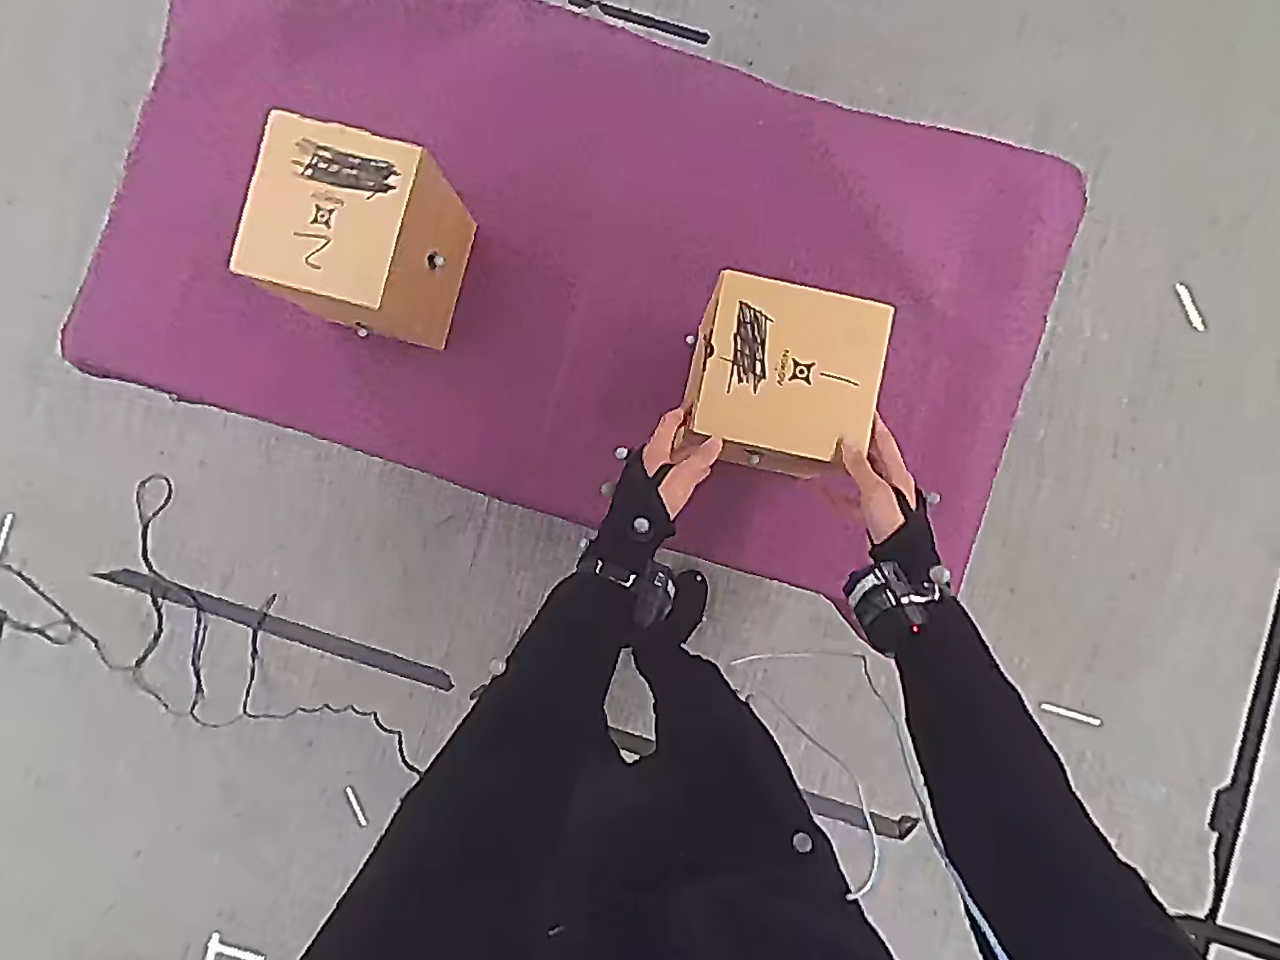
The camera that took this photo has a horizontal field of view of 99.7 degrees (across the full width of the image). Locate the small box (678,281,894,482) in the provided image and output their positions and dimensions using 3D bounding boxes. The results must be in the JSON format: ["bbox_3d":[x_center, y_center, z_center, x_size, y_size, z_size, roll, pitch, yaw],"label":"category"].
[{"bbox_3d":[0.145,-0.094,0.602,0.179,0.176,0.168,12,87,-2],"label":"small box"}]

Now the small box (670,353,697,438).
[{"bbox_3d":[0.171,-0.163,1.233,0.168,0.176,0.179,18,88,2],"label":"small box"}]
